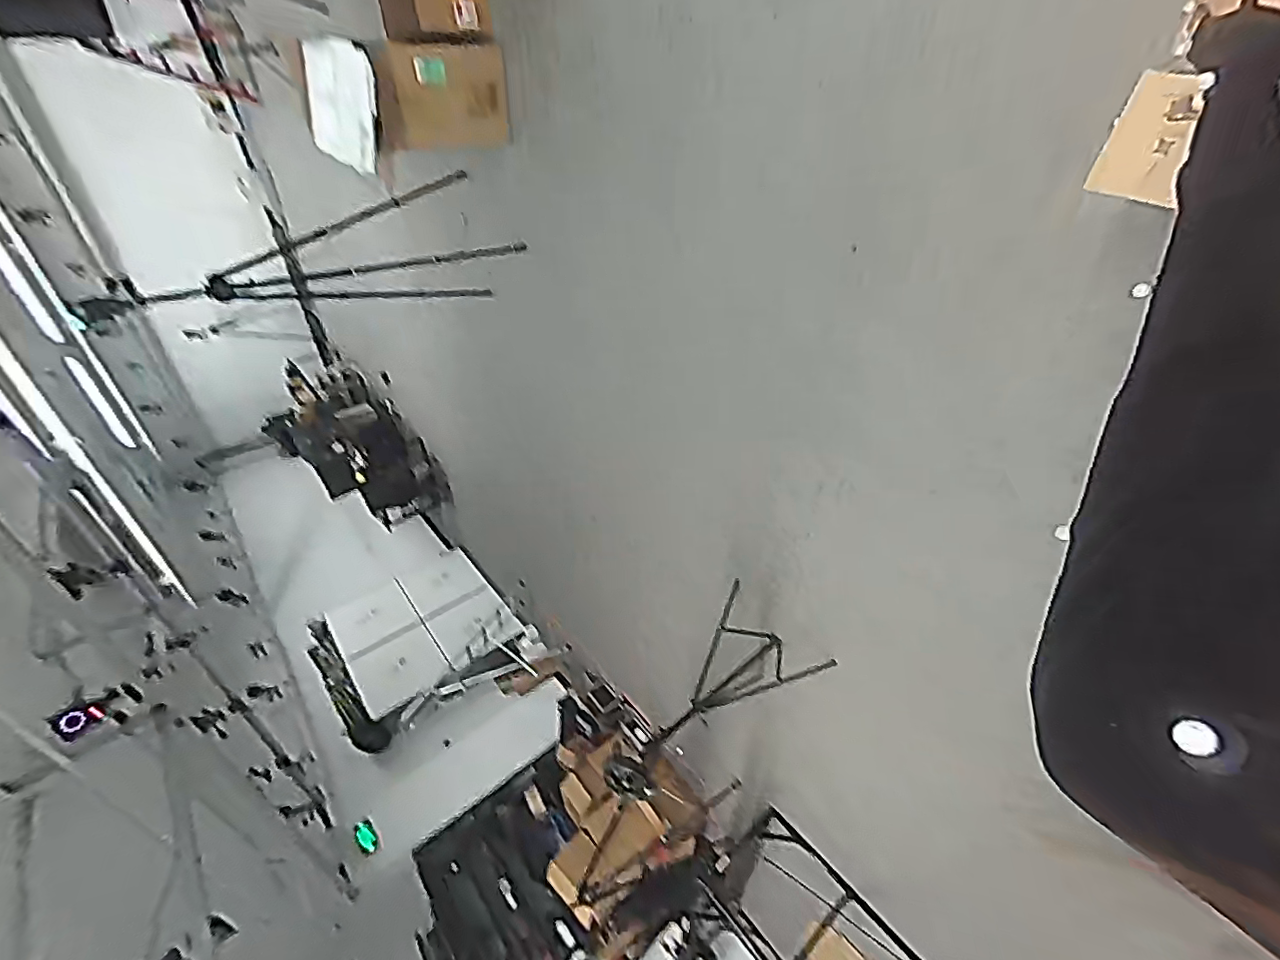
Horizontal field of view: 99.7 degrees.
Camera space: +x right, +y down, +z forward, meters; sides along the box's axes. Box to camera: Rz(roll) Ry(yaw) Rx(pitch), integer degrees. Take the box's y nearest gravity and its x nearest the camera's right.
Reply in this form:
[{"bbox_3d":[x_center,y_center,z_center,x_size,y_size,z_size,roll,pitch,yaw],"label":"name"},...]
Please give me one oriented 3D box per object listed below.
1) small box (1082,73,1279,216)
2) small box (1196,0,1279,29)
[{"bbox_3d":[0.905,-0.568,0.907,0.168,0.176,0.179,40,143,34],"label":"small box"},{"bbox_3d":[0.546,-0.510,0.432,0.168,0.176,0.179,-21,108,49],"label":"small box"}]
